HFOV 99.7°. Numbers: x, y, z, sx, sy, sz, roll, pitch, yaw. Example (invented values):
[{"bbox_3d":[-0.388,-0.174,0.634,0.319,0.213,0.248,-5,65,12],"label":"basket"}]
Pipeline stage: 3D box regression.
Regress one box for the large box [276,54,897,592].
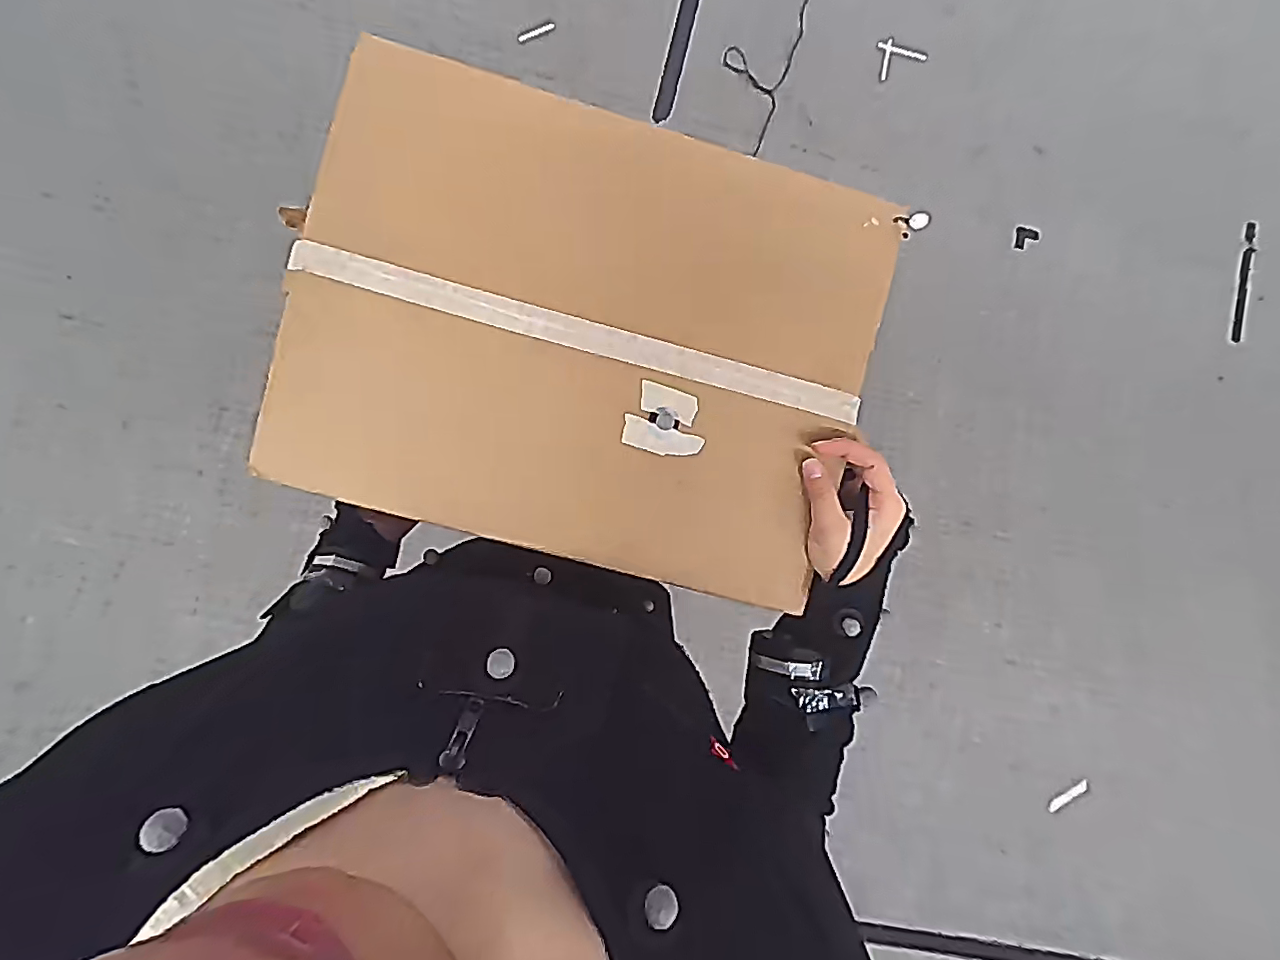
[{"bbox_3d":[-0.044,-0.110,0.541,0.408,0.320,0.320,14,91,-5],"label":"large box"}]
